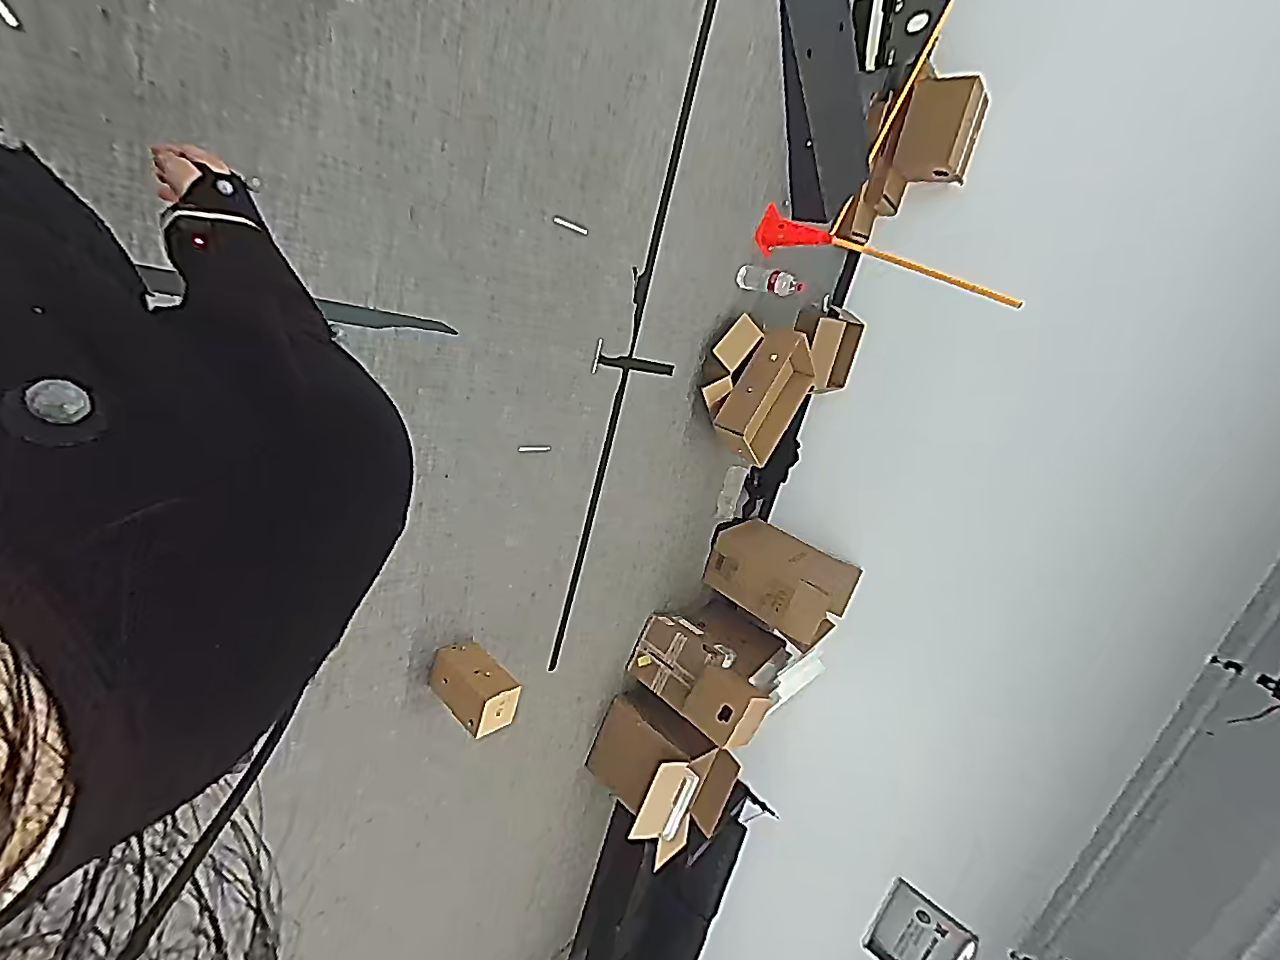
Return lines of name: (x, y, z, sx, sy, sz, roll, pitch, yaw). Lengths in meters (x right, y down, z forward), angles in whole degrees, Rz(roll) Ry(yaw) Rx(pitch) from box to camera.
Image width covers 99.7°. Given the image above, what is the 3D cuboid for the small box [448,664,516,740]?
small box: (-0.601, 0.831, 2.041, 0.168, 0.176, 0.179, -2, 113, -54)
